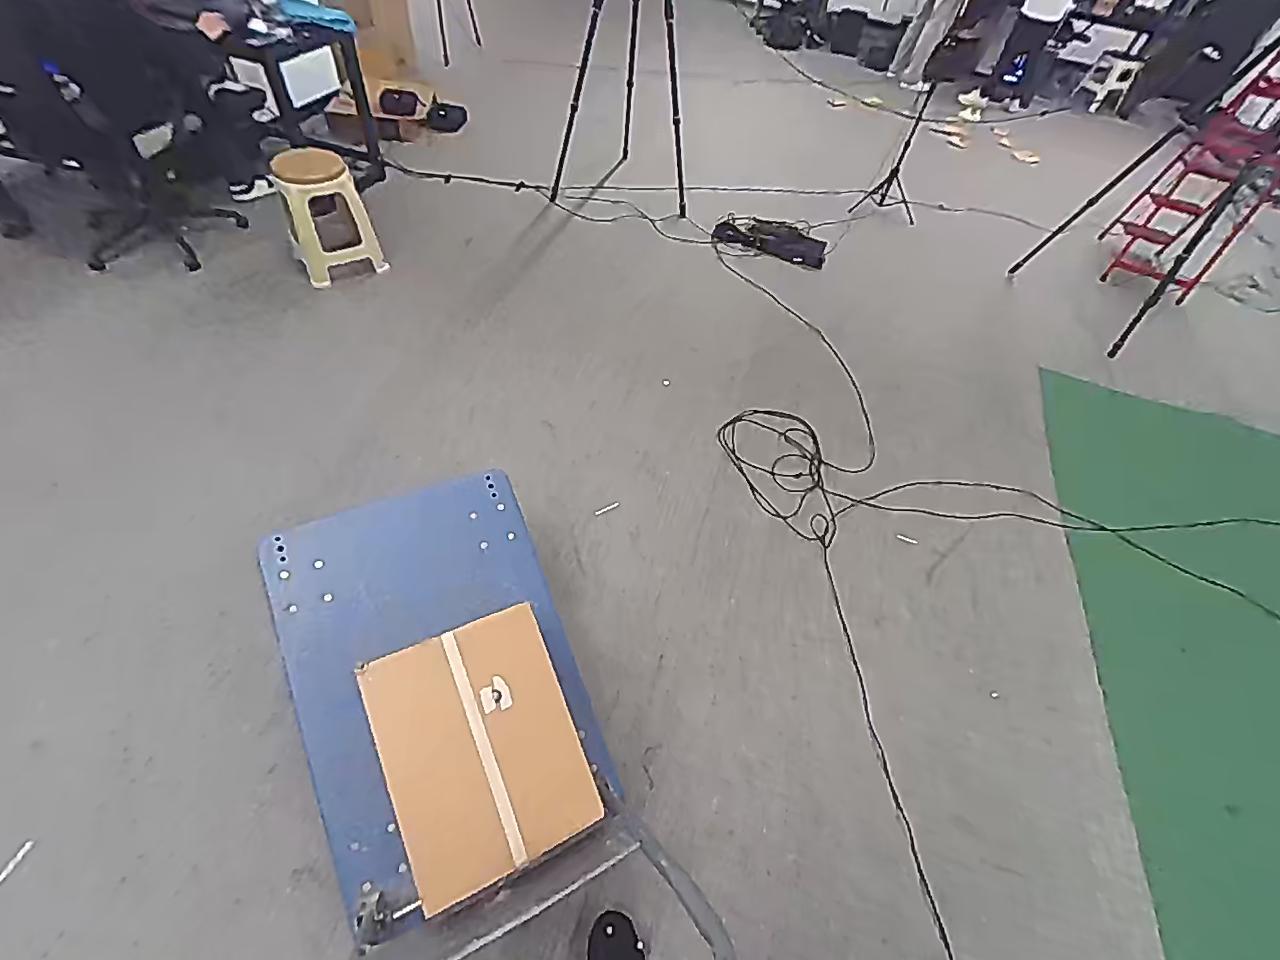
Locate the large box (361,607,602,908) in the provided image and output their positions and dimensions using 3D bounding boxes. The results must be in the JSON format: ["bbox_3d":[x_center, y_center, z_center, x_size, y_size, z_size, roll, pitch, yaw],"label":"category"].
[{"bbox_3d":[-0.314,0.516,1.093,0.320,0.320,0.408,-18,77,-22],"label":"large box"}]
